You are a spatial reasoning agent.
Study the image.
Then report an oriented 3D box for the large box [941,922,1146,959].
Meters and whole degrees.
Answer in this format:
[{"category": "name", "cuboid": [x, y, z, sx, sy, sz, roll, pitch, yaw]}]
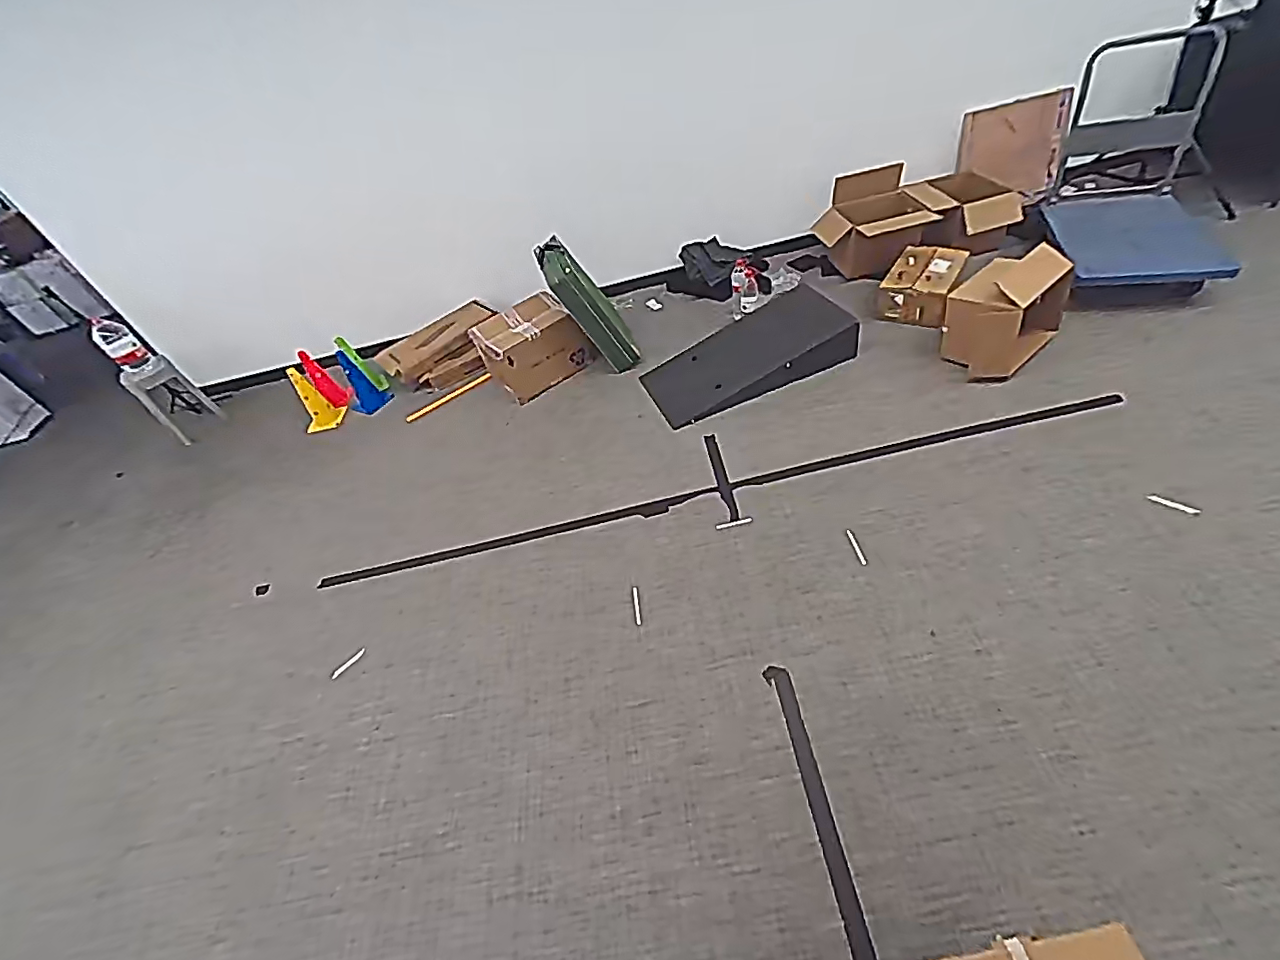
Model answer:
[{"category": "large box", "cuboid": [0.640, 0.930, 0.777, 0.320, 0.320, 0.408, -19, 45, 7]}]
